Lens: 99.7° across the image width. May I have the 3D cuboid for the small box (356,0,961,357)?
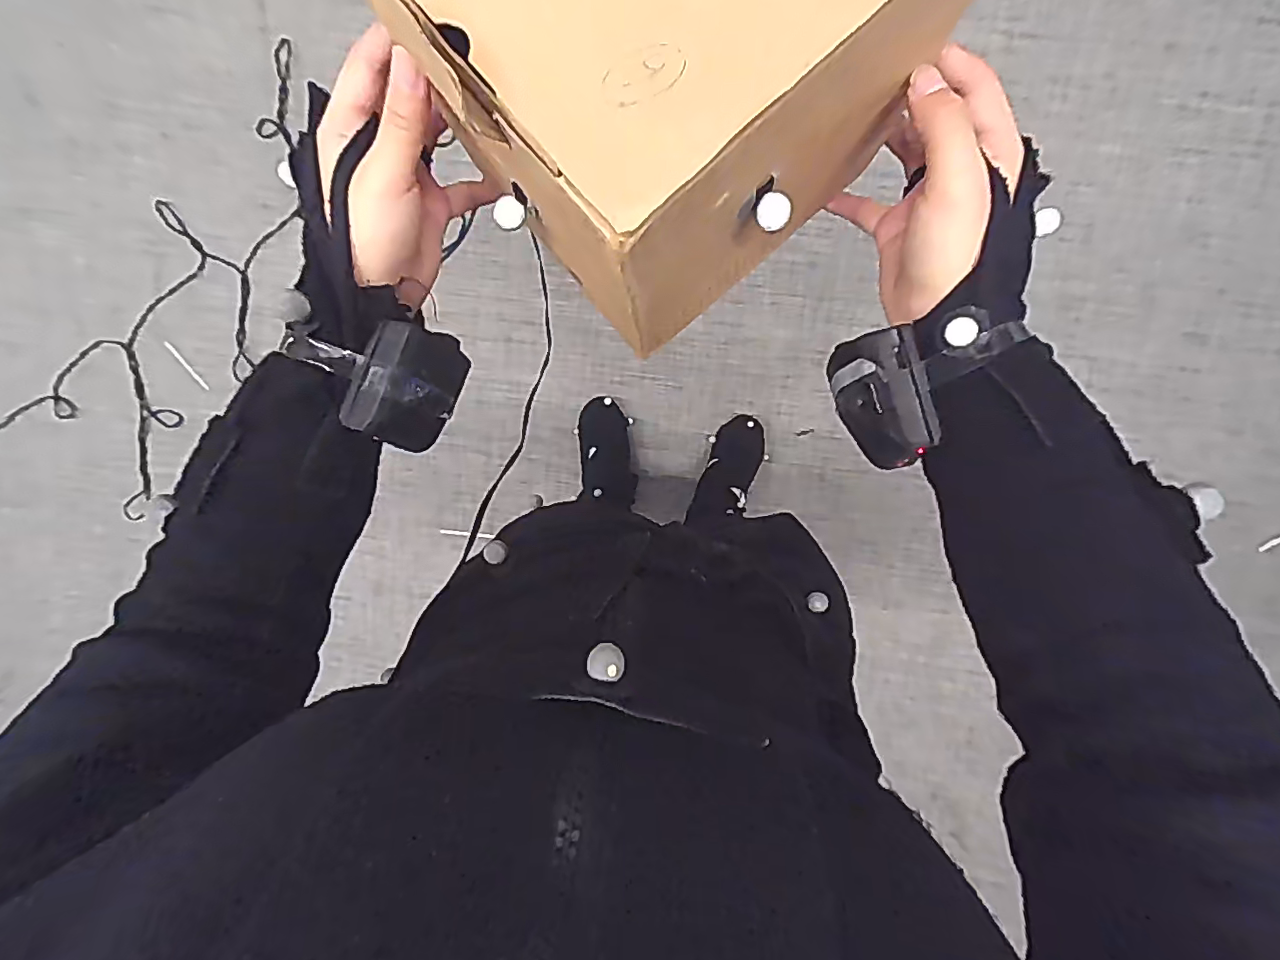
[{"bbox_3d":[0.012,-0.183,0.256,0.179,0.176,0.168,-41,88,4],"label":"small box"}]
